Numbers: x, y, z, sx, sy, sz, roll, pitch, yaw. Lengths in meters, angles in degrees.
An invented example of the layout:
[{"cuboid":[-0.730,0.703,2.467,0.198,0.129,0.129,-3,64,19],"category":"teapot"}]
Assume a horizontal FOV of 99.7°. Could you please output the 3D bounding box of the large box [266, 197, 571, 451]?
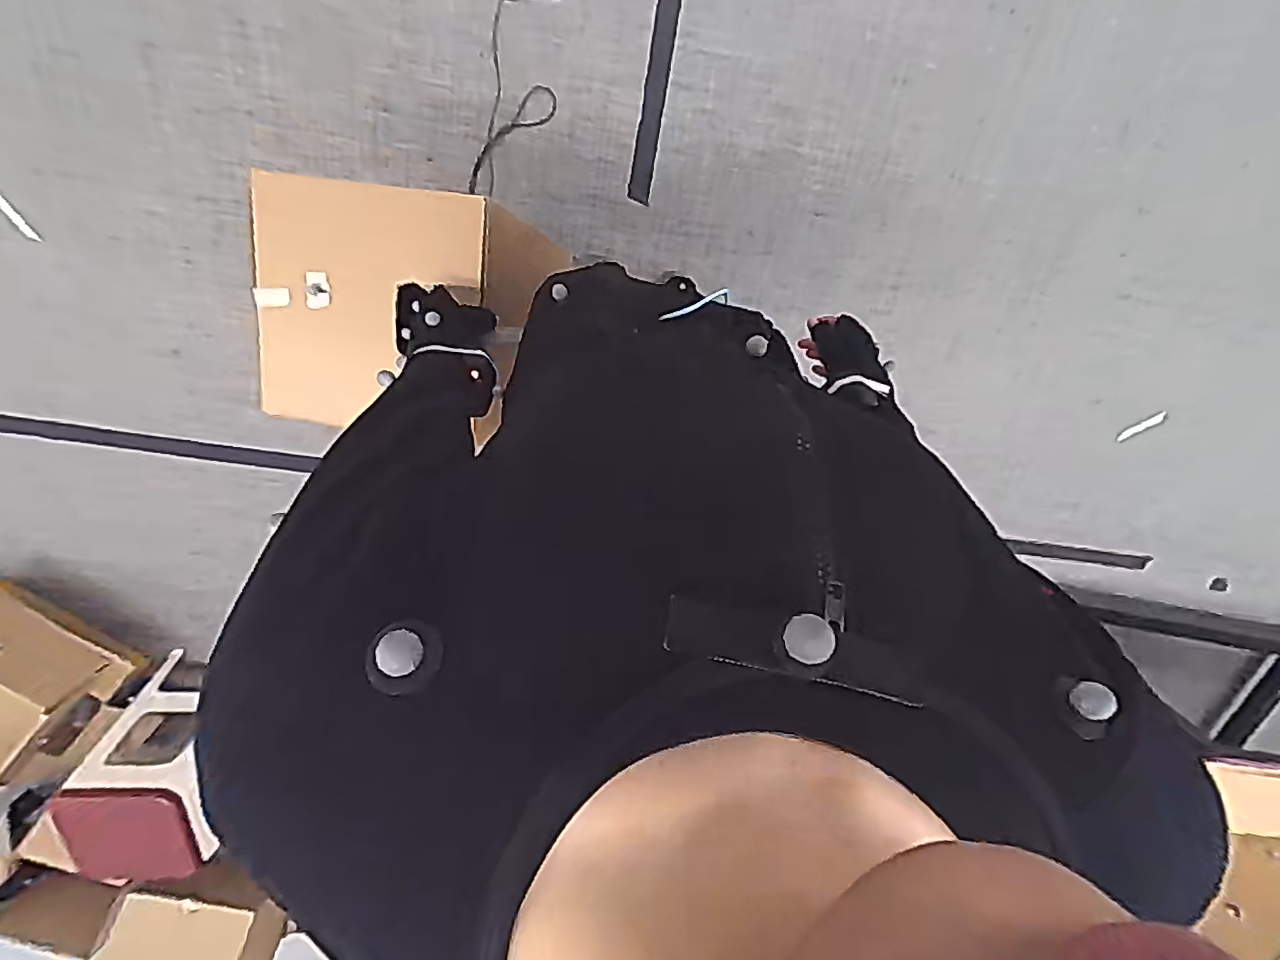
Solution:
[{"cuboid":[-0.322,-0.256,0.902,0.320,0.408,0.320,9,106,5],"category":"large box"}]
